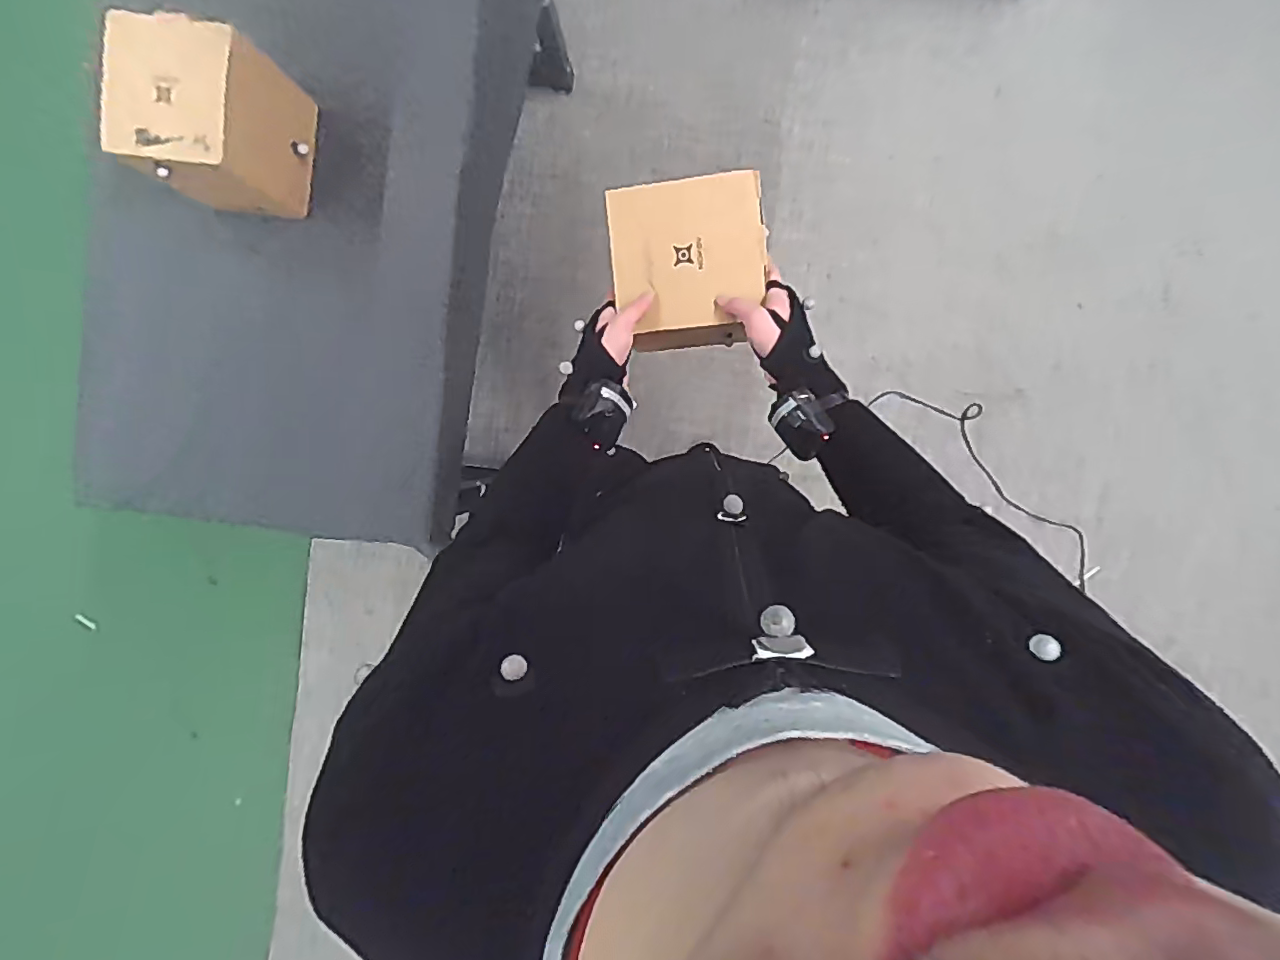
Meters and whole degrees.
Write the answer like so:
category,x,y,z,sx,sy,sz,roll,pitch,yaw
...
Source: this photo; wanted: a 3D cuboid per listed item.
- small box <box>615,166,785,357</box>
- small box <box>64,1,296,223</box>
category,x,y,z,sx,sy,sz,roll,pitch,yaw
small box,0.072,-0.254,0.670,0.179,0.176,0.168,-6,94,6
small box,-0.594,-0.474,0.721,0.168,0.176,0.179,7,93,1
